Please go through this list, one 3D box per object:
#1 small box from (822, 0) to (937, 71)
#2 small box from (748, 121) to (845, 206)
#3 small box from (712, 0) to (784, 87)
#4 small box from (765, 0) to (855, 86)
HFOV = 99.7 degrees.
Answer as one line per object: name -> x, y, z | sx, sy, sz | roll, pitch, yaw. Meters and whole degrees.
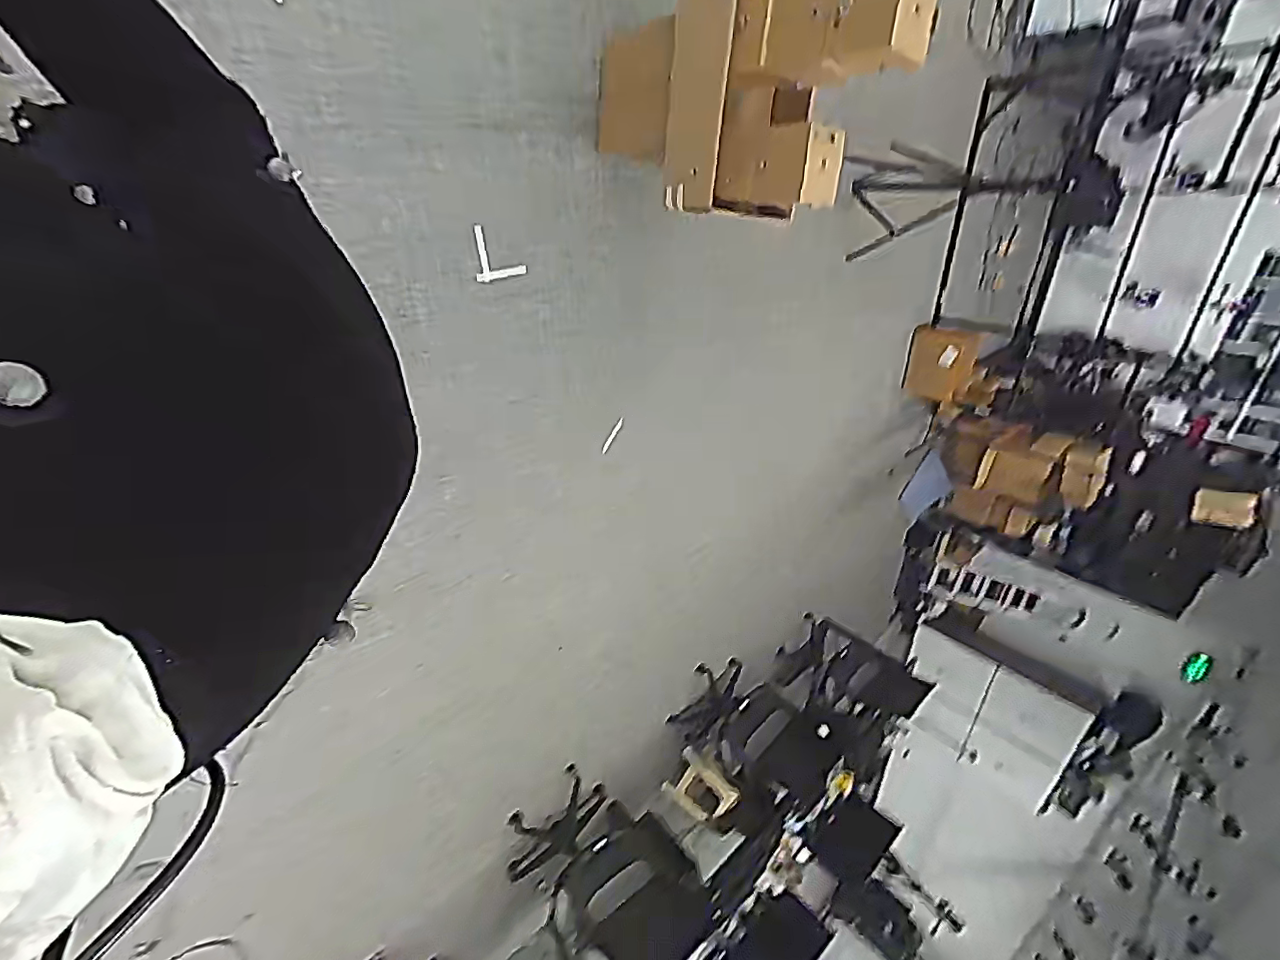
small box -> 0.534, -1.034, 1.202 | 0.179, 0.176, 0.168 | -20, 123, -39
small box -> 0.407, -0.828, 1.426 | 0.168, 0.176, 0.179 | -19, 124, -38
small box -> 0.309, -1.148, 1.411 | 0.179, 0.176, 0.168 | -19, 124, -39
small box -> 0.424, -1.087, 1.310 | 0.168, 0.176, 0.179 | -16, 122, -40
